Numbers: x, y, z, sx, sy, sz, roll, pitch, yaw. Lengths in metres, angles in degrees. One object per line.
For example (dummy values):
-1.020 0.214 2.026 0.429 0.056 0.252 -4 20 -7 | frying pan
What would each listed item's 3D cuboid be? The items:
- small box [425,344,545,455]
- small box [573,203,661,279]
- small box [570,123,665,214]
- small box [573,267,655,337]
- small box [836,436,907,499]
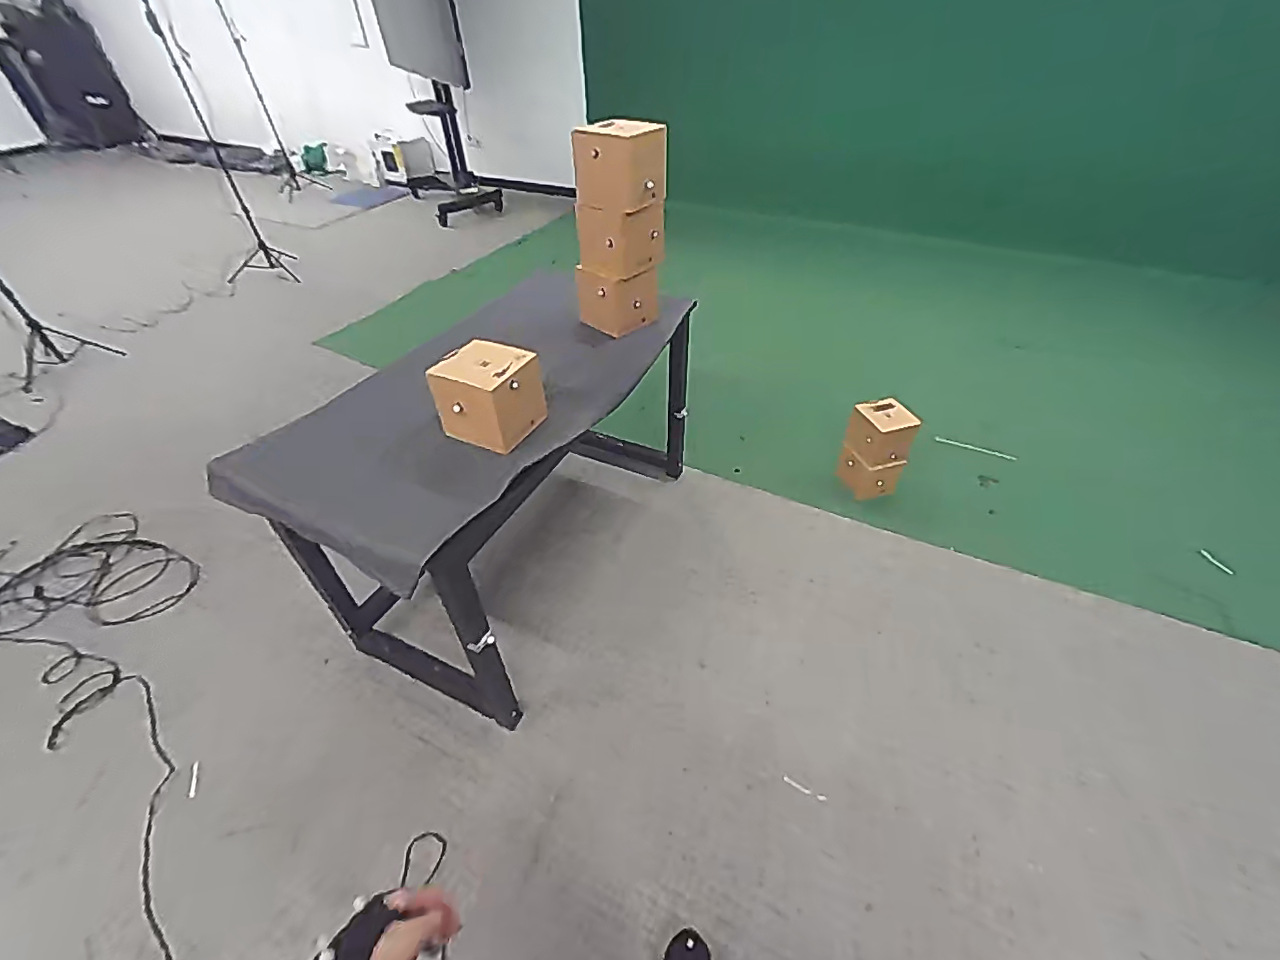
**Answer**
-0.334 -0.177 1.197 0.179 0.176 0.168 17 45 21 | small box
-0.057 -0.663 1.474 0.179 0.176 0.168 29 49 32 | small box
-0.053 -0.788 1.367 0.179 0.176 0.168 25 48 27 | small box
-0.069 -0.534 1.574 0.168 0.176 0.179 -33 49 -30 | small box
0.892 -0.042 2.100 0.168 0.176 0.179 -13 43 -12 | small box
